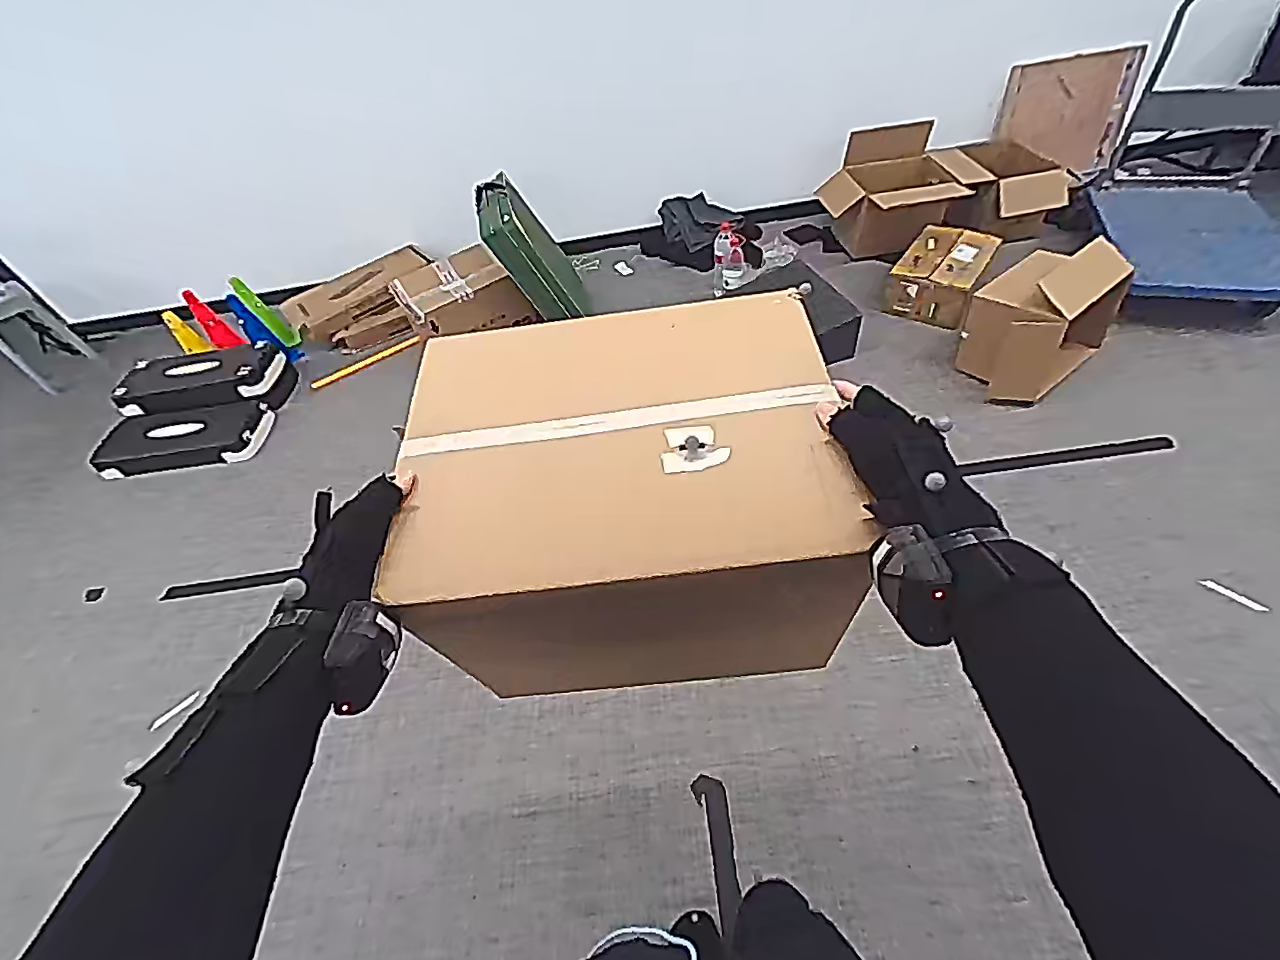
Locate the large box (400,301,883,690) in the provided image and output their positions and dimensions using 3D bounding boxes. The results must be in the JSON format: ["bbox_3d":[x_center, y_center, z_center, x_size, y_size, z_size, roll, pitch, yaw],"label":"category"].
[{"bbox_3d":[0.000,0.034,0.639,0.408,0.320,0.320,-7,56,2],"label":"large box"}]
